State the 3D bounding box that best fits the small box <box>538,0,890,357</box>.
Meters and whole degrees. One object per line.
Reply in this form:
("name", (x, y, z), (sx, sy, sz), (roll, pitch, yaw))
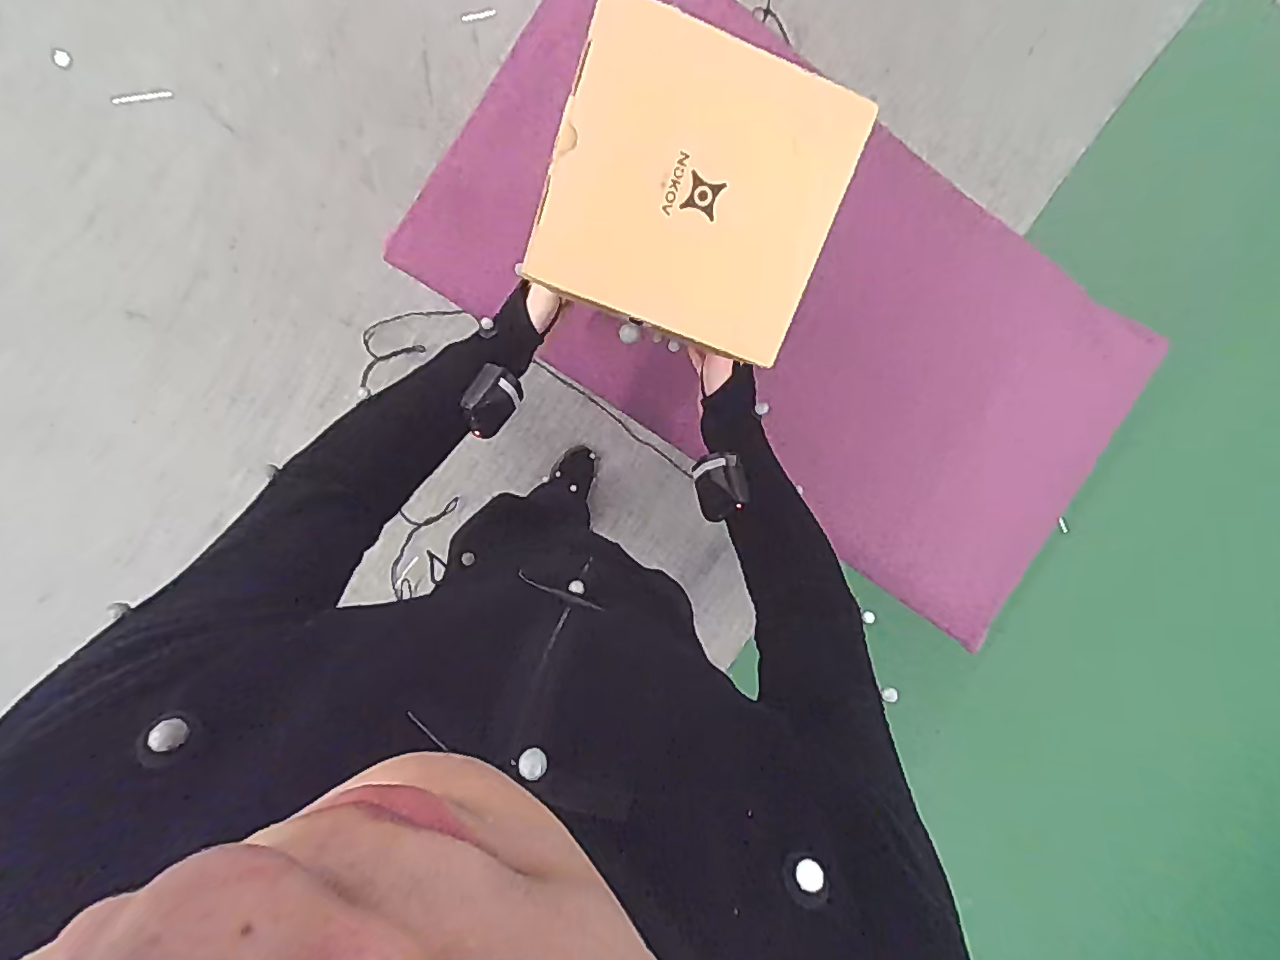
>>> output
("small box", (0.040, -0.207, 0.408), (0.179, 0.176, 0.168), (18, 105, -8))
